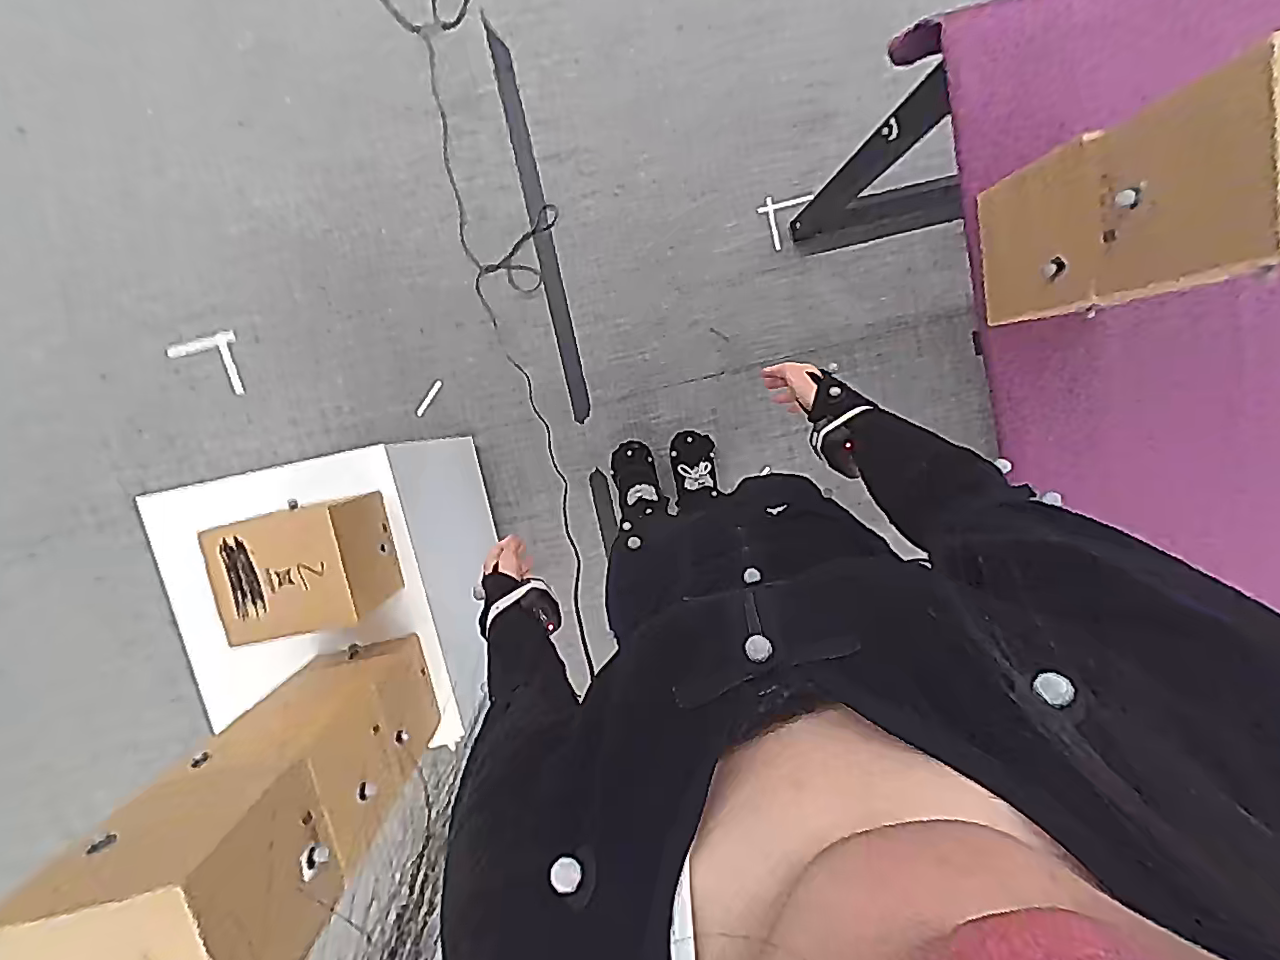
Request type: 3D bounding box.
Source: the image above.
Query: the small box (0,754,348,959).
[{"bbox_3d":[-0.411,0.389,0.495,0.179,0.176,0.168,-14,98,-2],"label":"small box"}]

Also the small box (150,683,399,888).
[{"bbox_3d":[-0.416,0.373,0.657,0.179,0.176,0.168,-14,97,-1],"label":"small box"}]

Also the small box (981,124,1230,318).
[{"bbox_3d":[0.551,-0.304,0.659,0.168,0.176,0.179,-10,97,-2],"label":"small box"}]

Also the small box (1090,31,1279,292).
[{"bbox_3d":[0.570,-0.284,0.496,0.179,0.176,0.168,-10,97,-1],"label":"small box"}]

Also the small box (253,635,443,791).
[{"bbox_3d":[-0.426,0.356,0.818,0.179,0.176,0.168,-12,97,0],"label":"small box"}]
